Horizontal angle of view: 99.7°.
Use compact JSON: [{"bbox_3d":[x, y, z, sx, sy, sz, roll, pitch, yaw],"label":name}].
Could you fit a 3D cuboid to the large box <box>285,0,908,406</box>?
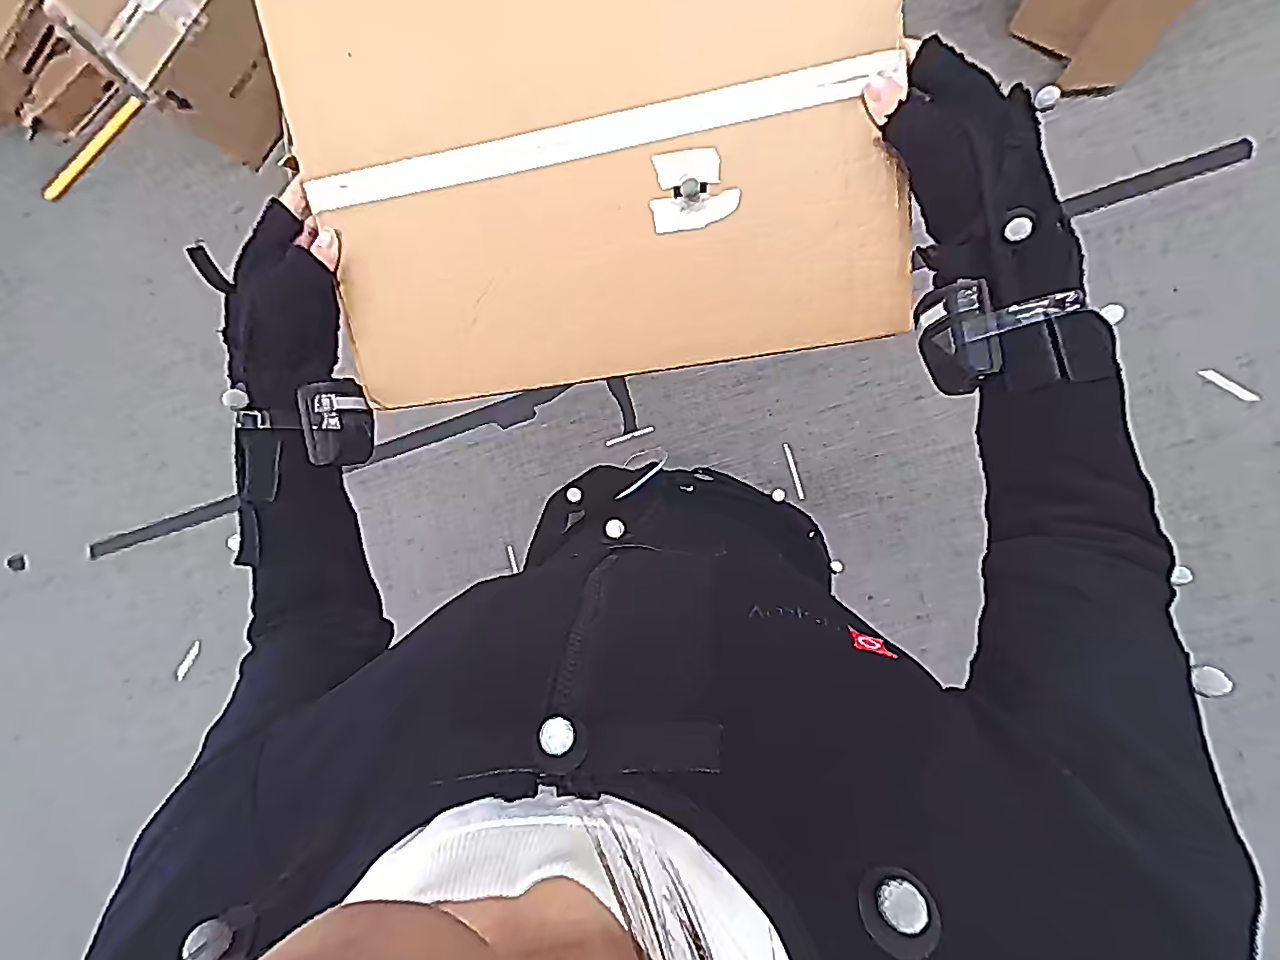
[{"bbox_3d":[-0.015,-0.268,0.517,0.408,0.320,0.320,-7,105,8],"label":"large box"}]
